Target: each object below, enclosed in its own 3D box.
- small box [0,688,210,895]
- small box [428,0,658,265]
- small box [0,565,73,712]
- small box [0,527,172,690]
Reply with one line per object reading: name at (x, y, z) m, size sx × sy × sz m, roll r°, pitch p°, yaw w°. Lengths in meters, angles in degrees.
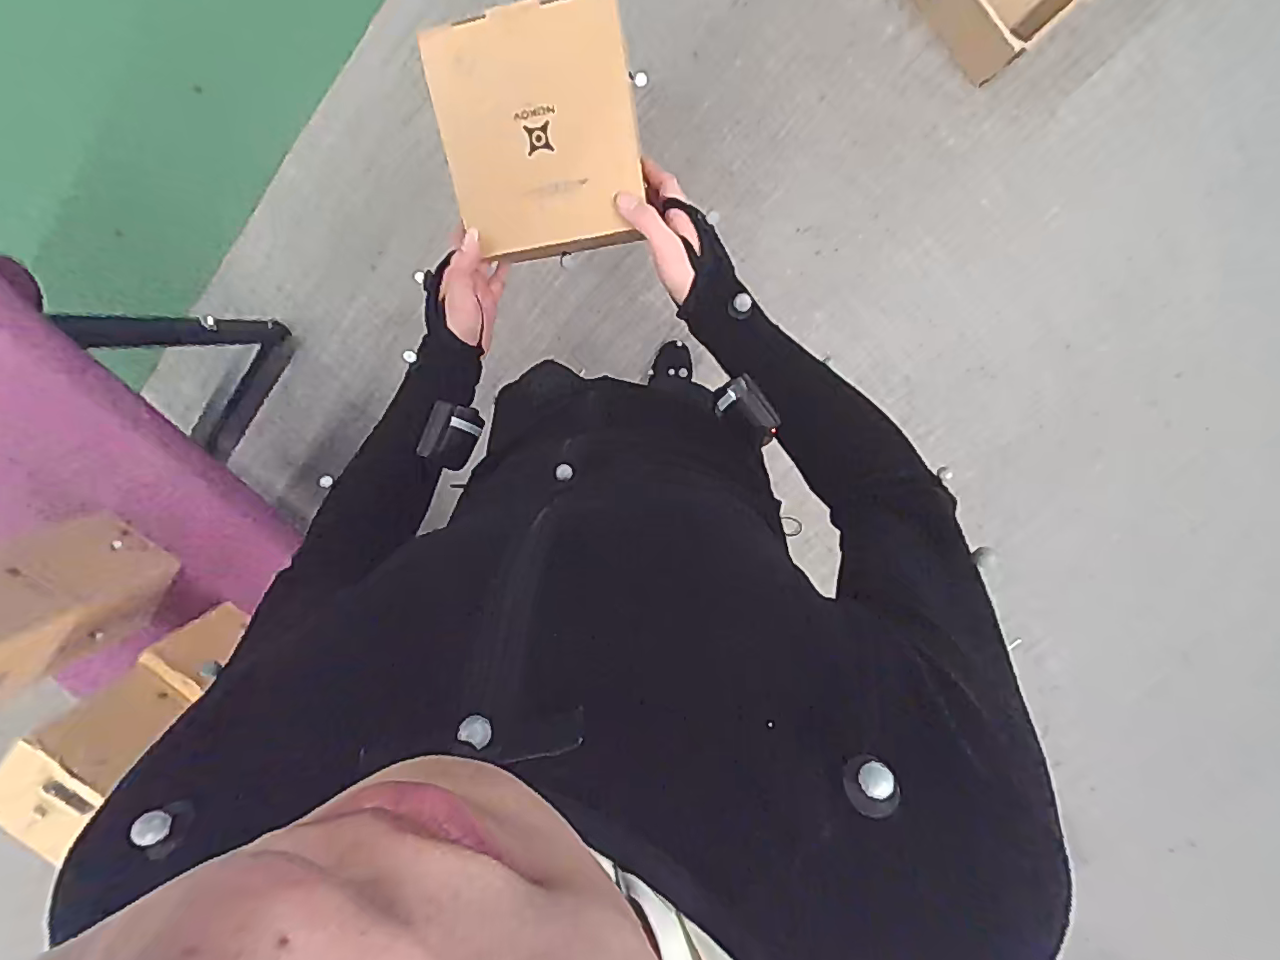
small box at (-0.805, 0.453, 0.810) m, size 0.168 × 0.176 × 0.179 m, roll 44°, pitch 104°, yaw -6°
small box at (-0.075, -0.314, 0.525) m, size 0.168 × 0.176 × 0.179 m, roll -7°, pitch 110°, yaw 6°
small box at (-0.990, 0.253, 0.775) m, size 0.168 × 0.176 × 0.179 m, roll 38°, pitch 105°, yaw -5°
small box at (-0.974, 0.213, 0.934) m, size 0.168 × 0.176 × 0.179 m, roll 39°, pitch 104°, yaw -5°
